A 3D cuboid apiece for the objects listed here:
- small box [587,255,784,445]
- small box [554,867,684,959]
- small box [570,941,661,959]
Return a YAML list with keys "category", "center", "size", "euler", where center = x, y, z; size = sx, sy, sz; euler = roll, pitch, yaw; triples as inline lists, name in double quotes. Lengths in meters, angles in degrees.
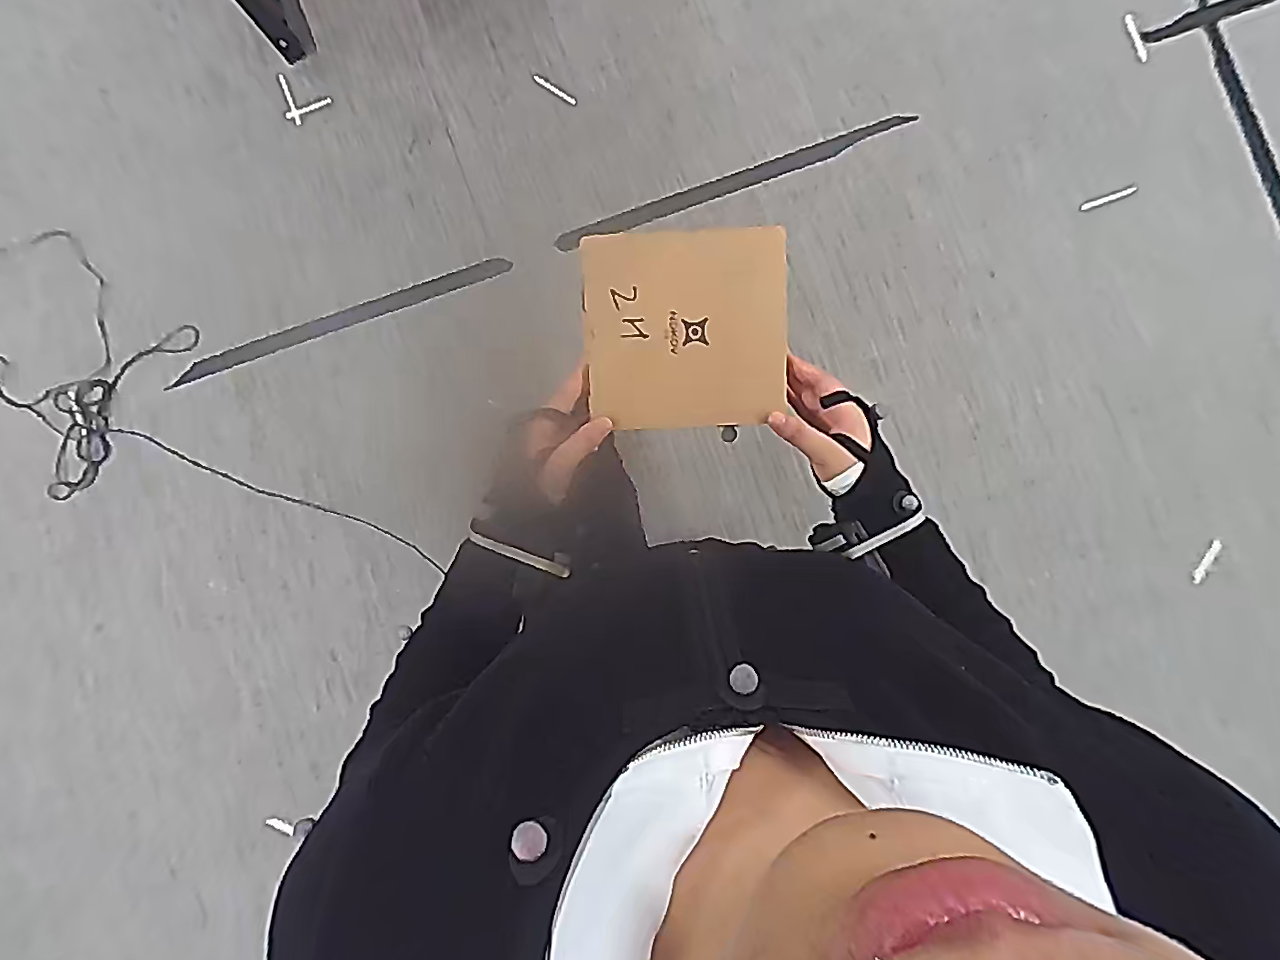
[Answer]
- category: "small box"
  center: [0.042, -0.127, 0.563]
  size: [0.179, 0.176, 0.168]
  euler: [-2, 98, 1]
- category: "small box"
  center: [-0.027, 0.828, 0.943]
  size: [0.179, 0.176, 0.168]
  euler: [-21, 88, 3]
- category: "small box"
  center: [-0.032, 0.832, 0.780]
  size: [0.168, 0.176, 0.179]
  euler: [-19, 88, 3]
